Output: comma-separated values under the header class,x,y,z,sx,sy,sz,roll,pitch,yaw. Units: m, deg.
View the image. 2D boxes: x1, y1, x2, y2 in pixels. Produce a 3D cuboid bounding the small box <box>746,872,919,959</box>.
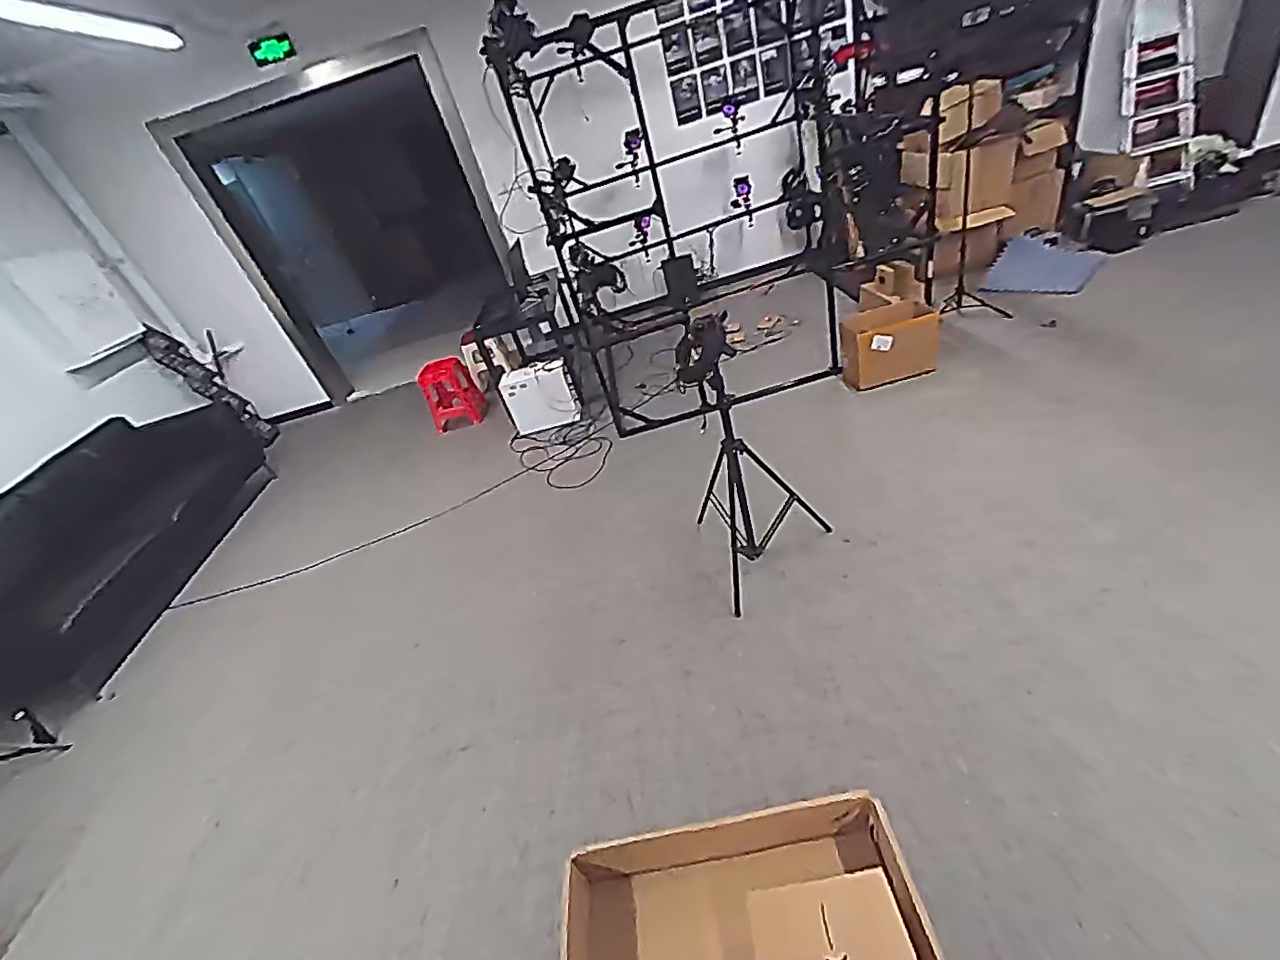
class,x,y,z,sx,sy,sz,roll,pitch,yaw
small box,0.223,0.574,0.607,0.168,0.176,0.179,-11,43,0
